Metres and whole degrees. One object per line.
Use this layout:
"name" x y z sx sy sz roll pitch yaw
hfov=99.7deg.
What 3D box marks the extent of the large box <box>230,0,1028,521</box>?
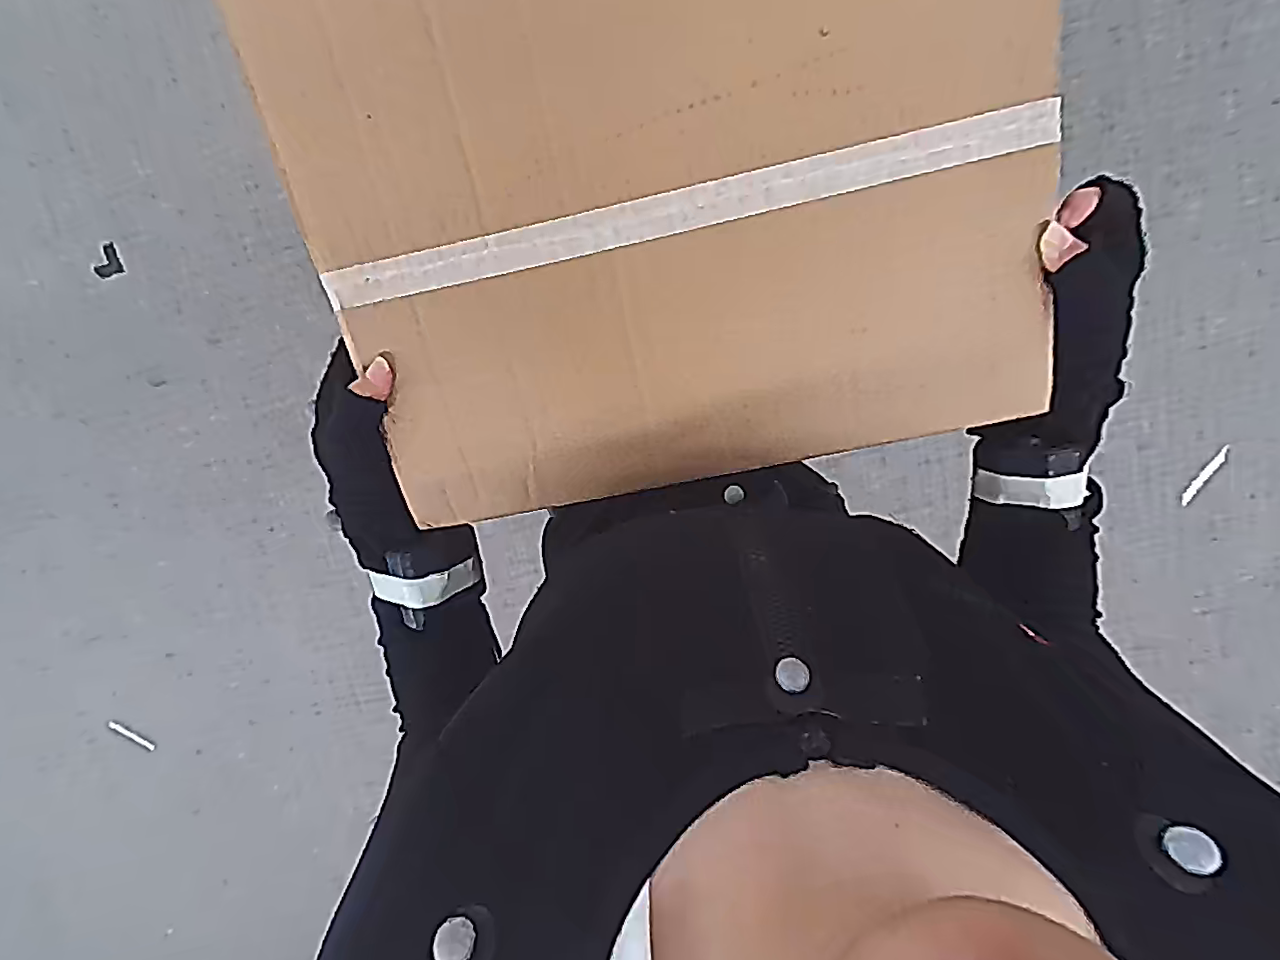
"large box" 0.016 -0.201 0.448 0.408 0.320 0.320 -11 108 5
